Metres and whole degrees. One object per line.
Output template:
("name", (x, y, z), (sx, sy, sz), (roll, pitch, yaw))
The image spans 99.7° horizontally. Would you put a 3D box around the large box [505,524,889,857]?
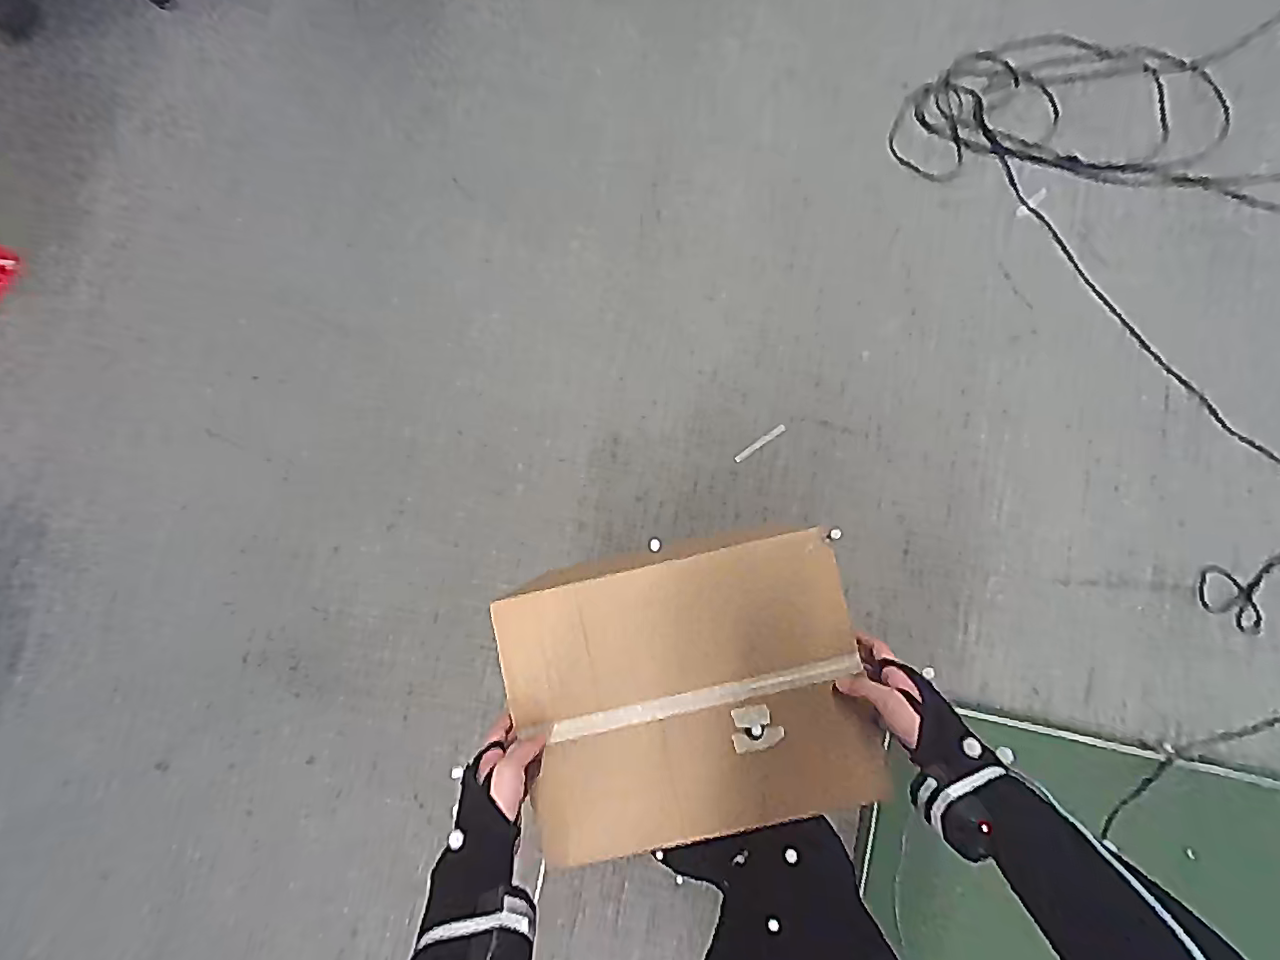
("large box", (0.065, 0.258, 0.784), (0.408, 0.320, 0.320), (-13, 86, 1))
